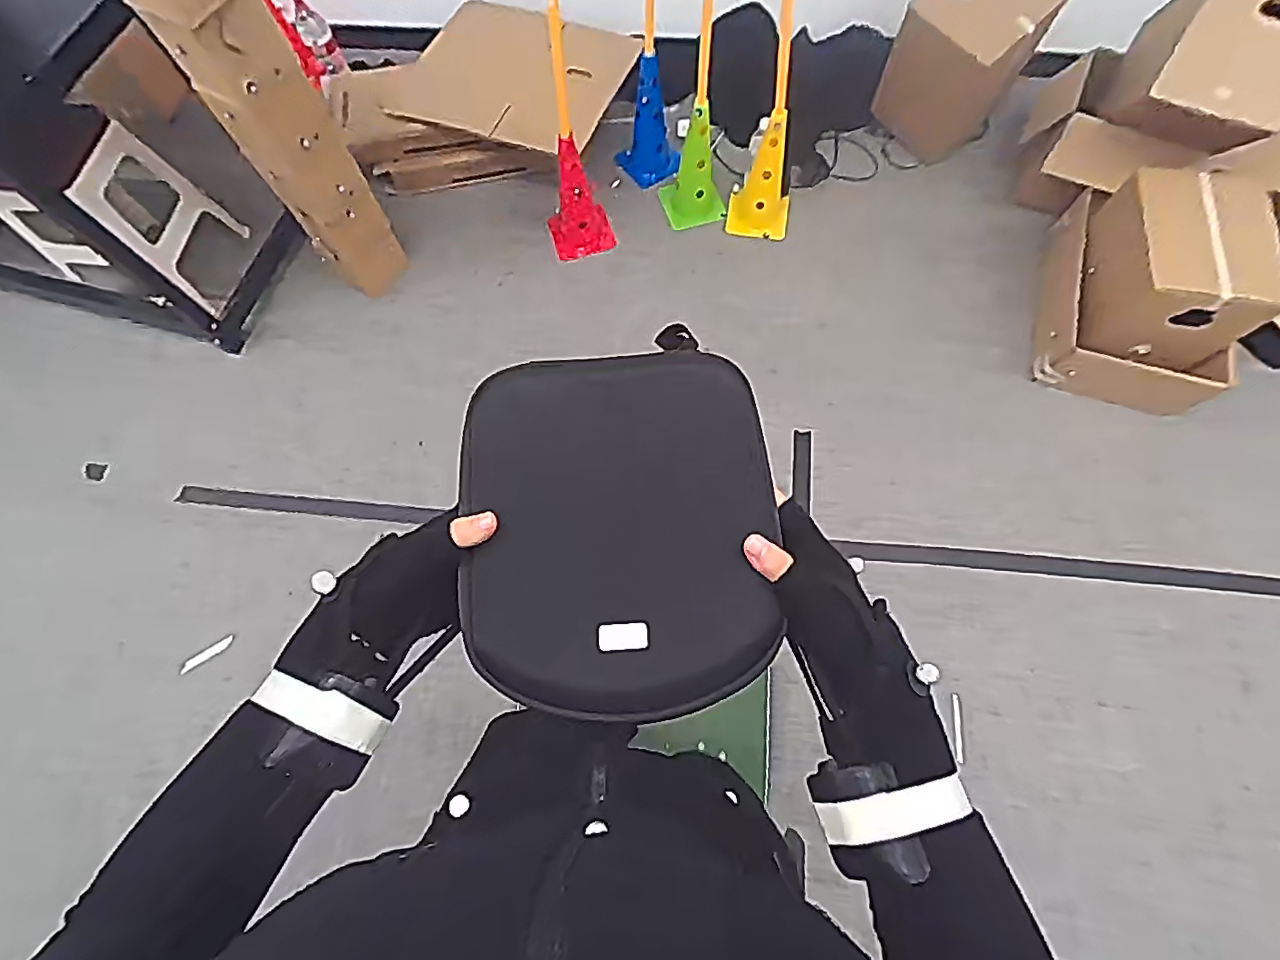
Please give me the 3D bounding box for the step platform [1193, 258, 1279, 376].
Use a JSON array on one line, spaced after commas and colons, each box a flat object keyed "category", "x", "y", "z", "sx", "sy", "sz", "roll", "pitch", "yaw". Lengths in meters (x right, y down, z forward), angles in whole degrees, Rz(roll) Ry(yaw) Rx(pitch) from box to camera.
[{"category": "step platform", "x": 2.086, "y": -0.571, "z": 1.616, "sx": 0.684, "sy": 0.204, "sz": 0.286, "roll": -23, "pitch": 71, "yaw": -6}]
